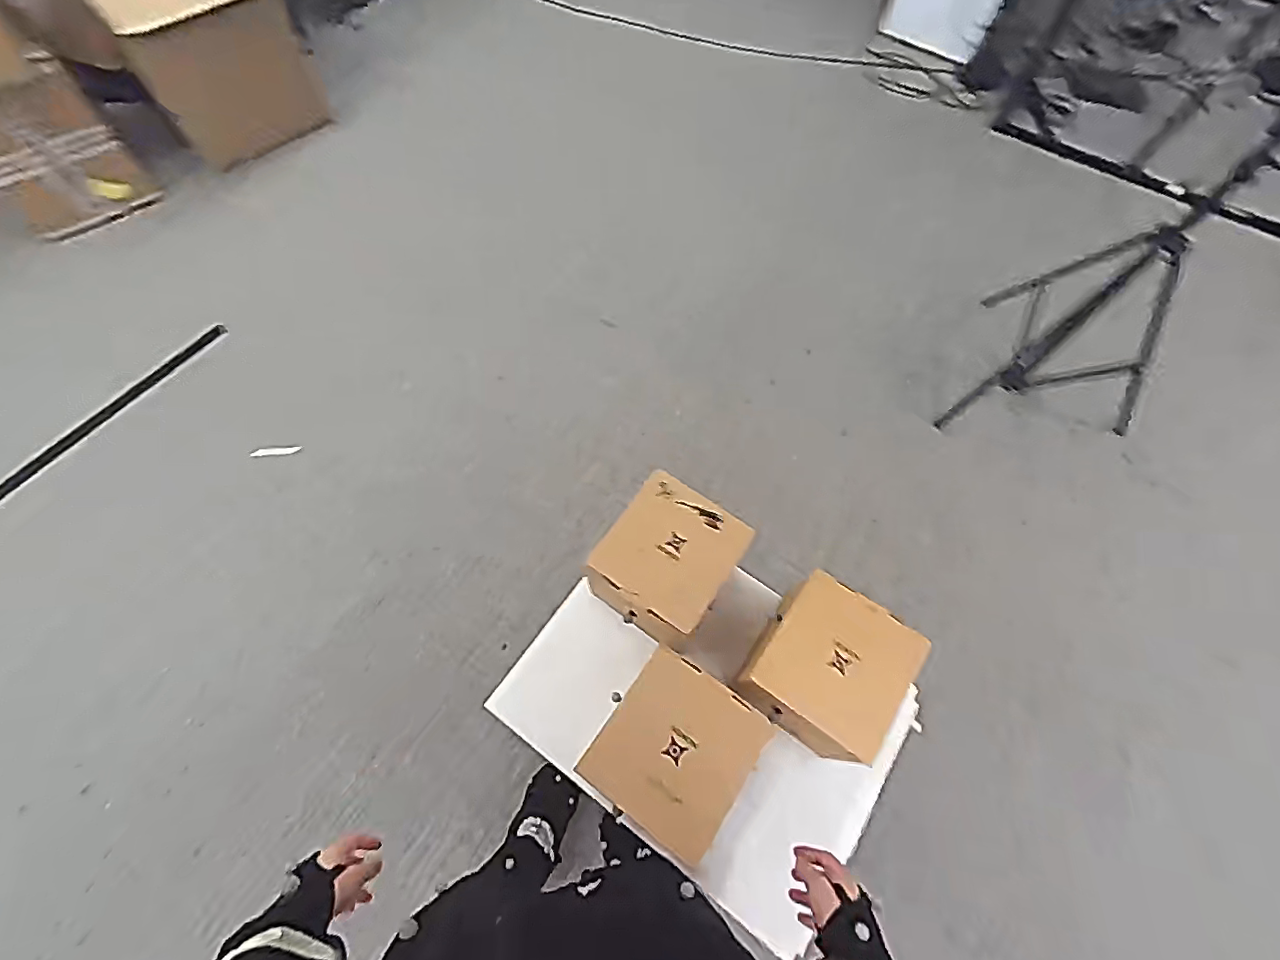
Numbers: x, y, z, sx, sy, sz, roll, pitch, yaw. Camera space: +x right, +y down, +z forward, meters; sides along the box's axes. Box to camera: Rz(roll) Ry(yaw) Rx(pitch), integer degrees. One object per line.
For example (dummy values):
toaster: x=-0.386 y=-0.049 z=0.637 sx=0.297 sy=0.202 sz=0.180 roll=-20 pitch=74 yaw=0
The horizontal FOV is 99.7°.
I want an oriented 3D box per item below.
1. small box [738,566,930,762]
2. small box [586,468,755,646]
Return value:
small box: x=0.250 y=0.254 z=0.739 sx=0.168 sy=0.176 sz=0.179 roll=34 pitch=68 yaw=14
small box: x=0.043 y=0.122 z=0.796 sx=0.168 sy=0.176 sz=0.179 roll=35 pitch=70 yaw=13
